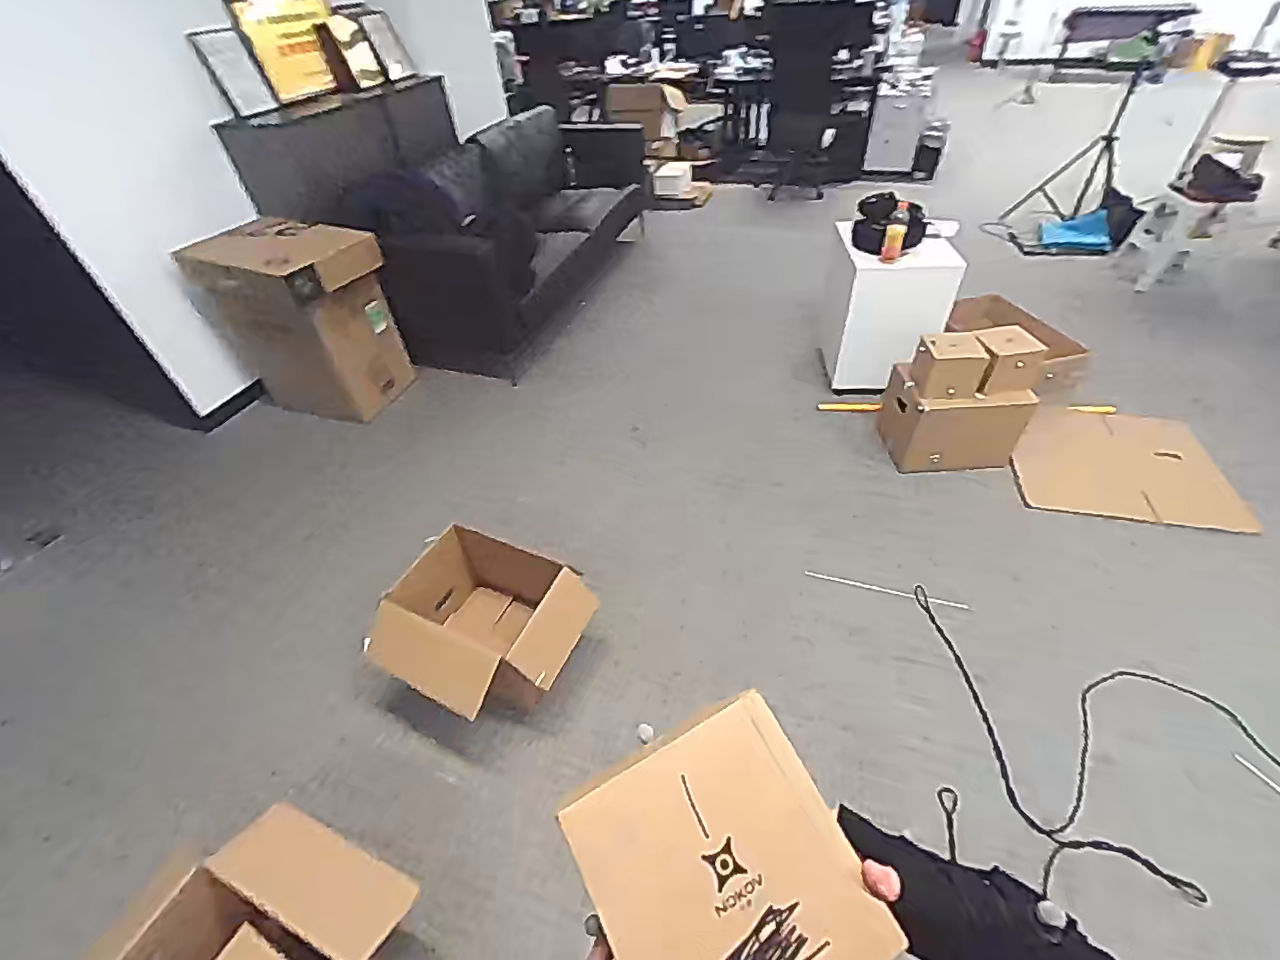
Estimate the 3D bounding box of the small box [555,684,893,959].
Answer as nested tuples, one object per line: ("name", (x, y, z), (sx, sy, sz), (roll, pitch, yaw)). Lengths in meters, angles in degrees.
("small box", (0.046, 0.285, 0.423), (0.168, 0.176, 0.179), (-23, 67, -17))
